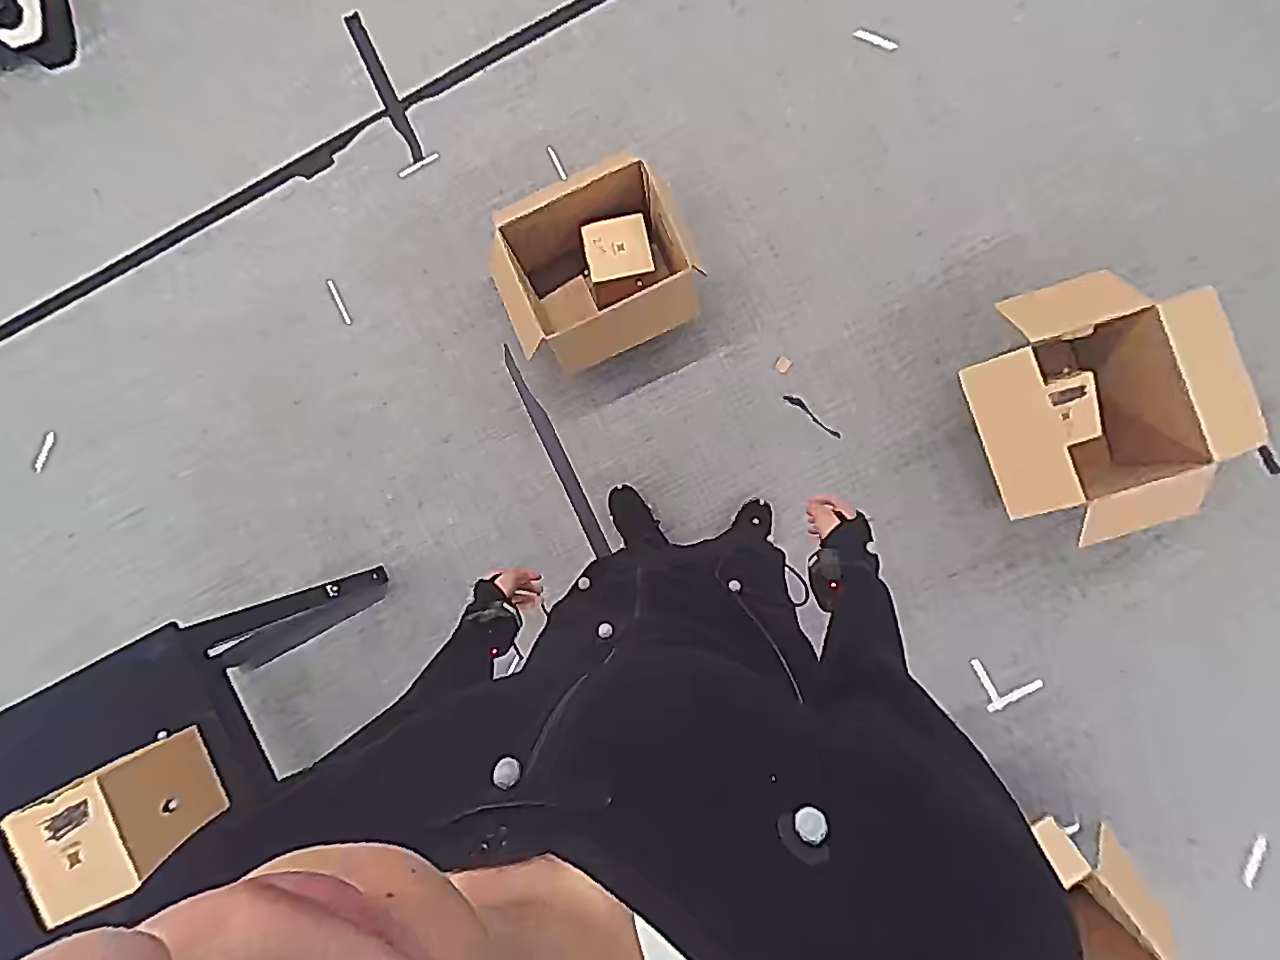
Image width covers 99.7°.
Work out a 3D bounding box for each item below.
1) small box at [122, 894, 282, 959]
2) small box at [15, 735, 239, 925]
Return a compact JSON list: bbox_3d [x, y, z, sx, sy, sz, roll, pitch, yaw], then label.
[{"bbox_3d":[-0.714,0.805,0.864,0.168,0.176,0.179,-14,90,5],"label":"small box"},{"bbox_3d":[-0.805,0.540,0.867,0.168,0.176,0.179,-25,90,4],"label":"small box"}]
